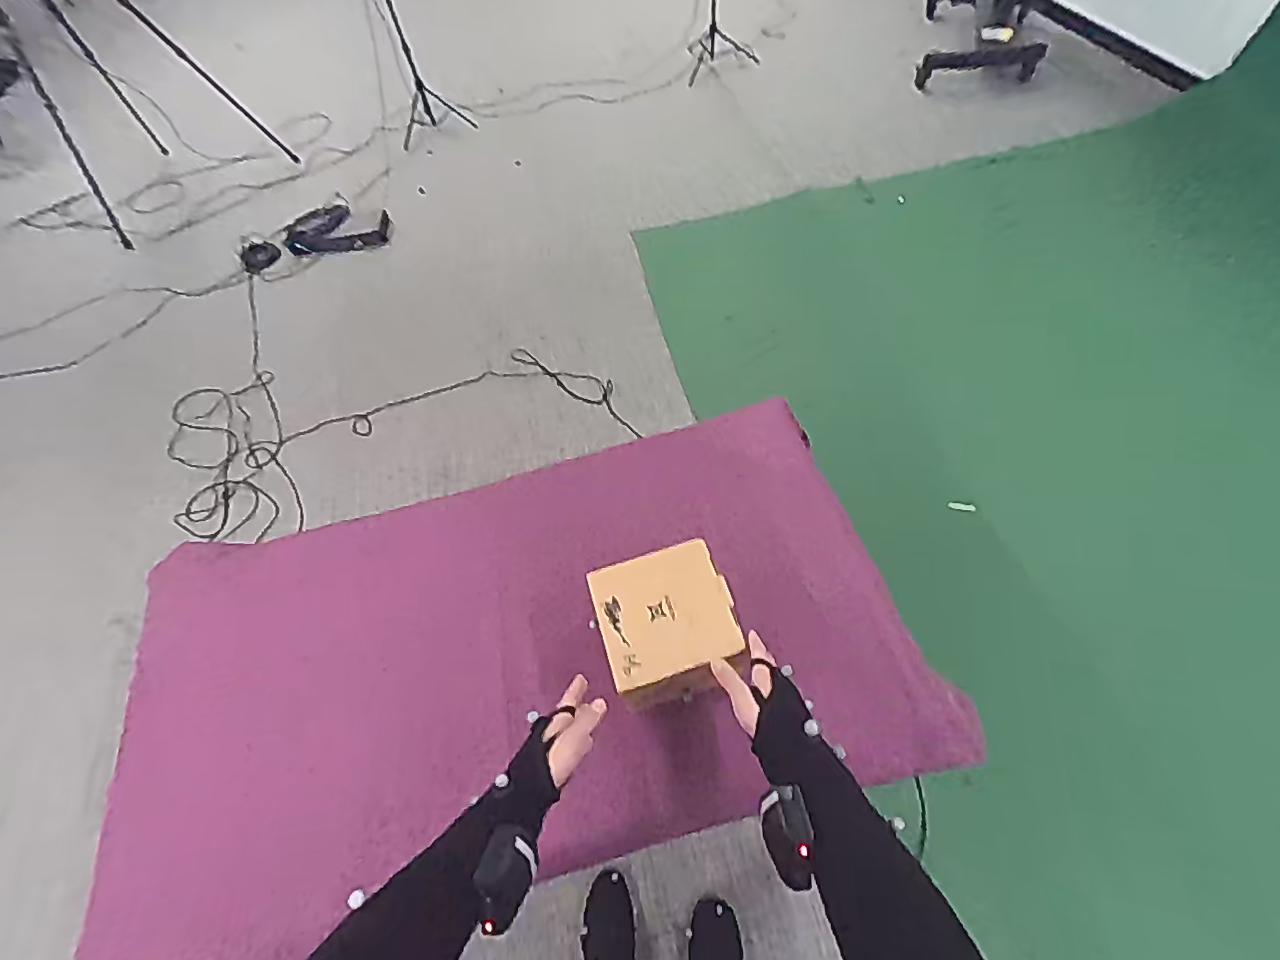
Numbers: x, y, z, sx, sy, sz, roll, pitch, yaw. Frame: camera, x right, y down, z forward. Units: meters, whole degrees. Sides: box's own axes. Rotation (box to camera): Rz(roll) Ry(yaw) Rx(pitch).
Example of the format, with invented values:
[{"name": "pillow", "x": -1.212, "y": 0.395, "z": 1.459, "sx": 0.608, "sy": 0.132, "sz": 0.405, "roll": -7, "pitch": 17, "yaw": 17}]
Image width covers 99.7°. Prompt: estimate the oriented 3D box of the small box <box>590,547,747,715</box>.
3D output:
[{"name": "small box", "x": 0.038, "y": 0.224, "z": 0.788, "sx": 0.179, "sy": 0.176, "sz": 0.168, "roll": -16, "pitch": 58, "yaw": -5}]
